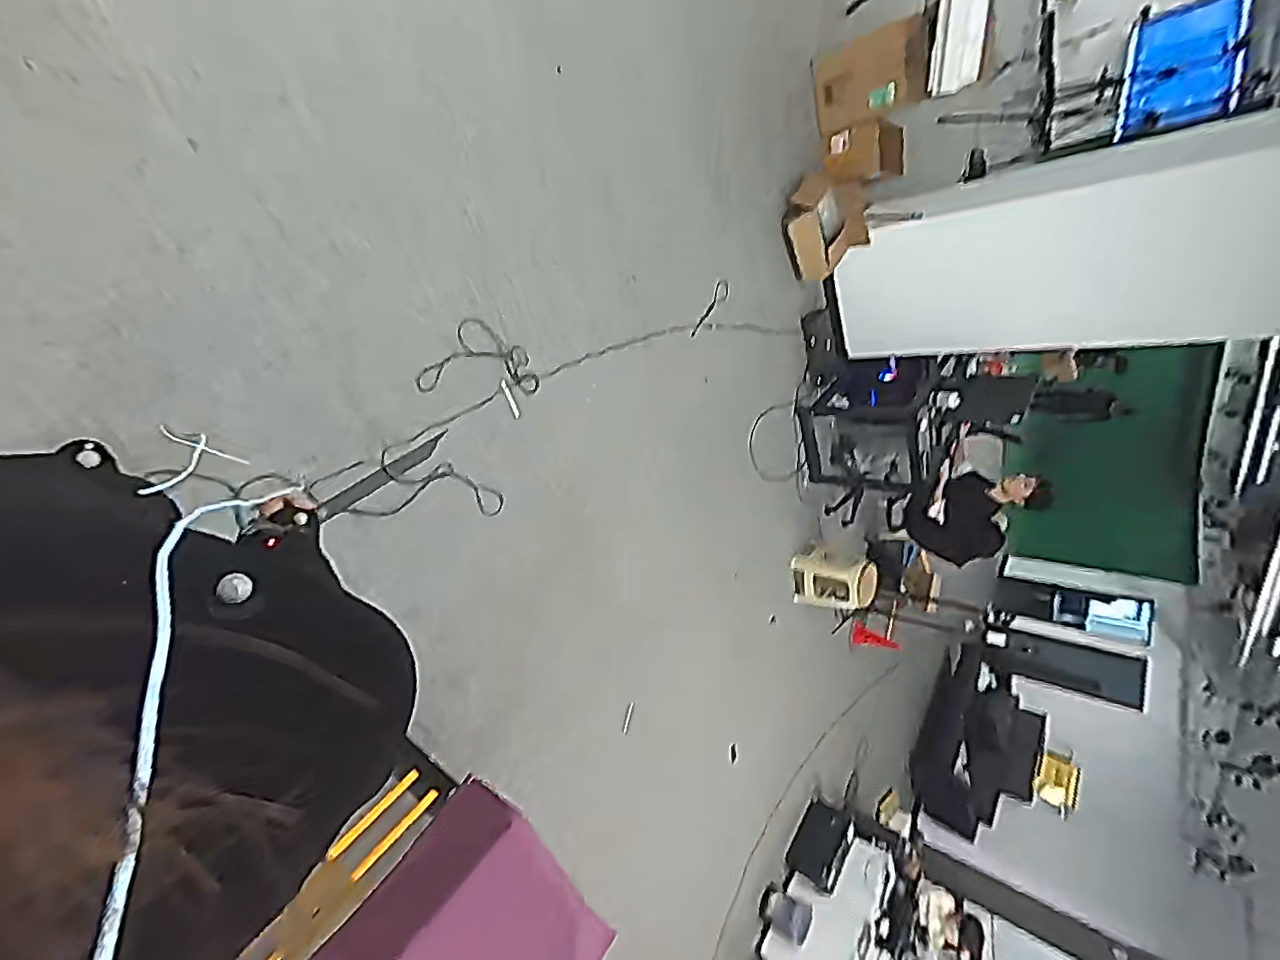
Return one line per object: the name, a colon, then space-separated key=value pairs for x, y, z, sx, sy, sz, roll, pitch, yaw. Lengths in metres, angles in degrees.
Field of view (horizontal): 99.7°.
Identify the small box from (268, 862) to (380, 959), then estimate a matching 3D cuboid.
small box: x=-0.839 y=1.170 z=1.433 sx=0.179 sy=0.176 sz=0.168 roll=-43 pitch=126 yaw=-33
